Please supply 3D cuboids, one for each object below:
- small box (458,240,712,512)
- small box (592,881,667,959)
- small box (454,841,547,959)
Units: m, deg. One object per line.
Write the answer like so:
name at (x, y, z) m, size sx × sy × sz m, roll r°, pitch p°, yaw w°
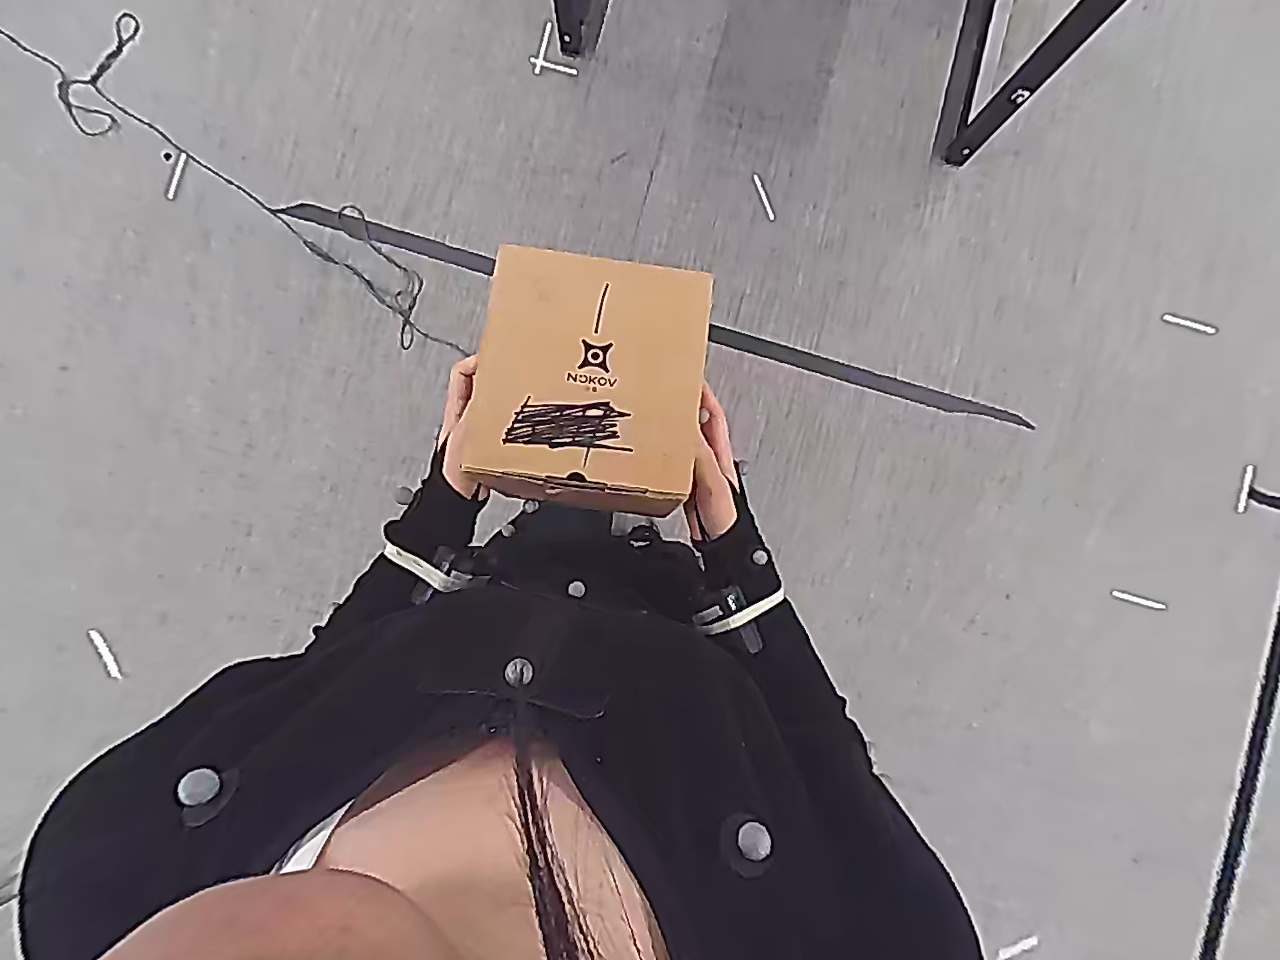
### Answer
small box at (-0.041, -0.072, 0.471) m, size 0.168 × 0.176 × 0.179 m, roll 8°, pitch 80°, yaw -3°
small box at (-0.030, 1.169, 1.387) m, size 0.179 × 0.176 × 0.168 m, roll 3°, pitch 88°, yaw -3°
small box at (-0.346, 1.075, 1.378) m, size 0.168 × 0.176 × 0.179 m, roll 18°, pitch 87°, yaw -2°
